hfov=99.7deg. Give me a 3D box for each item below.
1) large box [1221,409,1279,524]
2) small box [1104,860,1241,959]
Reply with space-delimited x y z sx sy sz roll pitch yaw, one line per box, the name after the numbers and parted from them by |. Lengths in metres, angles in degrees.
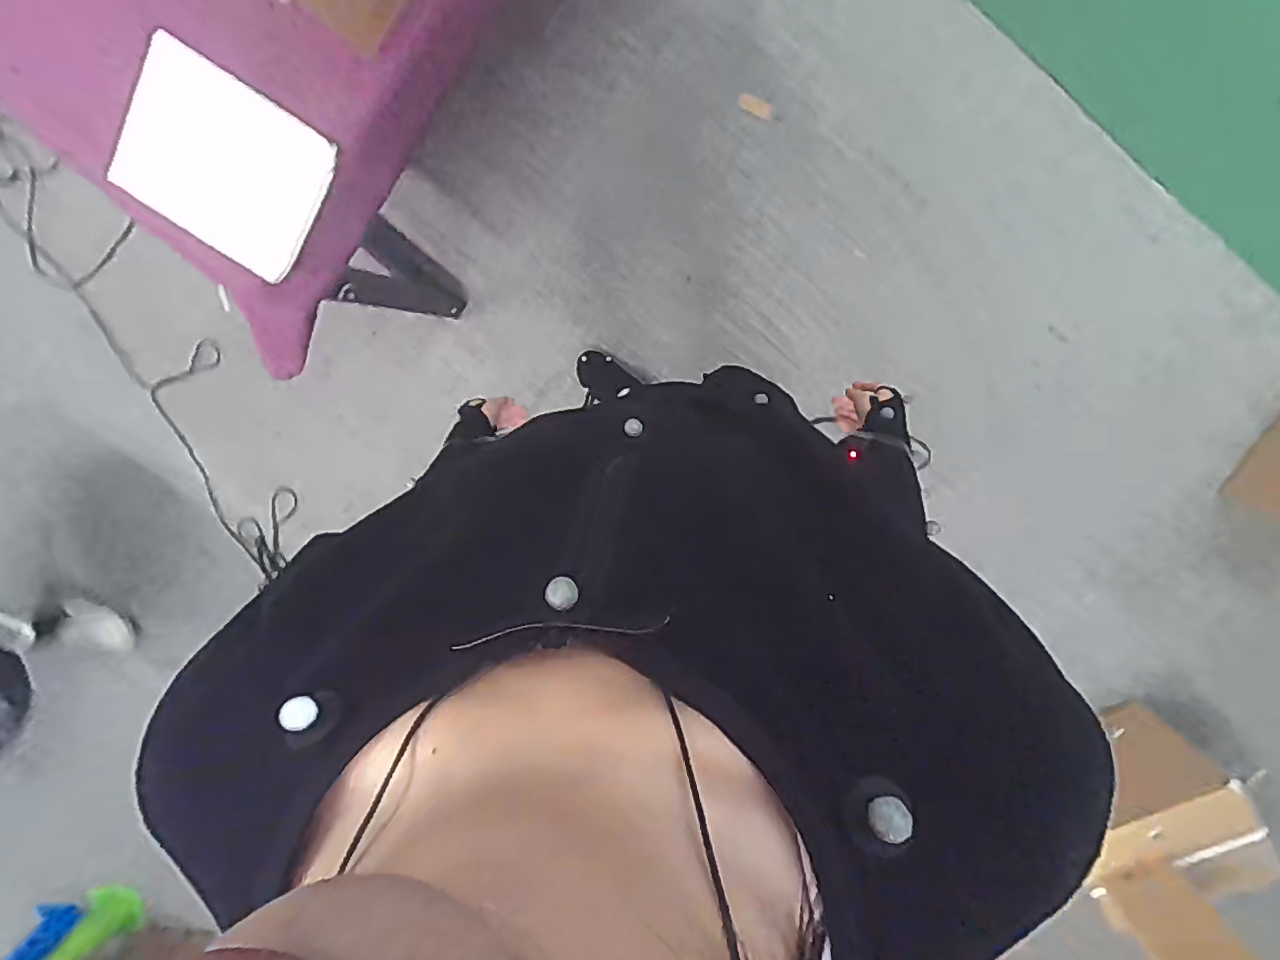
1.695 -0.041 1.212 0.320 0.320 0.408 25 103 -2 | large box
1.236 1.033 1.243 0.168 0.176 0.179 -31 100 11 | small box
